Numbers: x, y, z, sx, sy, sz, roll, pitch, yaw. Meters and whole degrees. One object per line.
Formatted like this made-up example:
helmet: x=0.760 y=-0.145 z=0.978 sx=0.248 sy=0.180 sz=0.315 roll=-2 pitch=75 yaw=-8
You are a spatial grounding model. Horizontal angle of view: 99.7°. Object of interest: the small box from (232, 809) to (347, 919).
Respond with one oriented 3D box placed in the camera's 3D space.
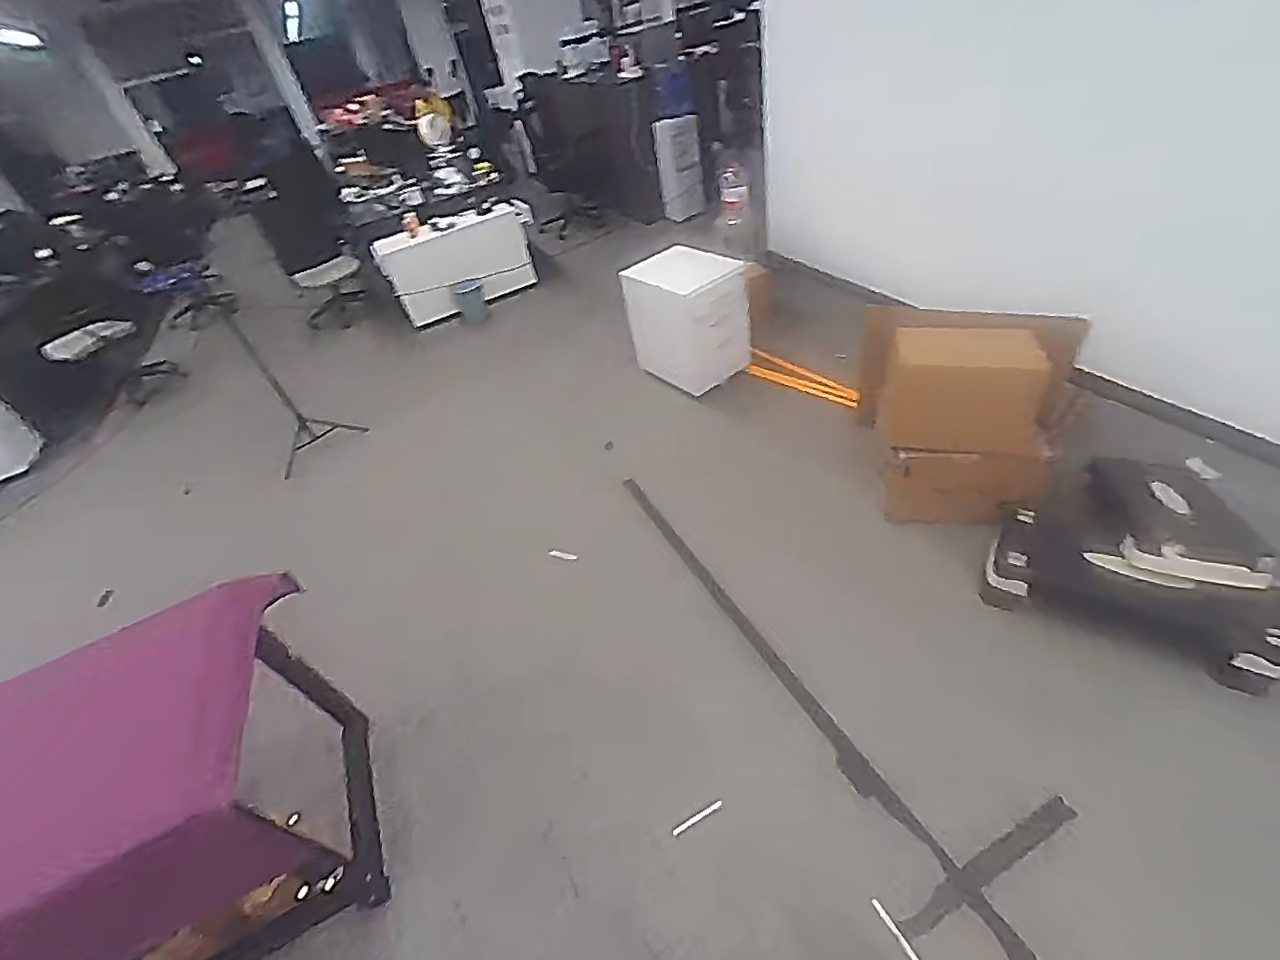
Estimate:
small box: x=-0.951 y=1.051 z=1.476 sx=0.179 sy=0.176 sz=0.168 roll=18 pitch=51 yaw=32
